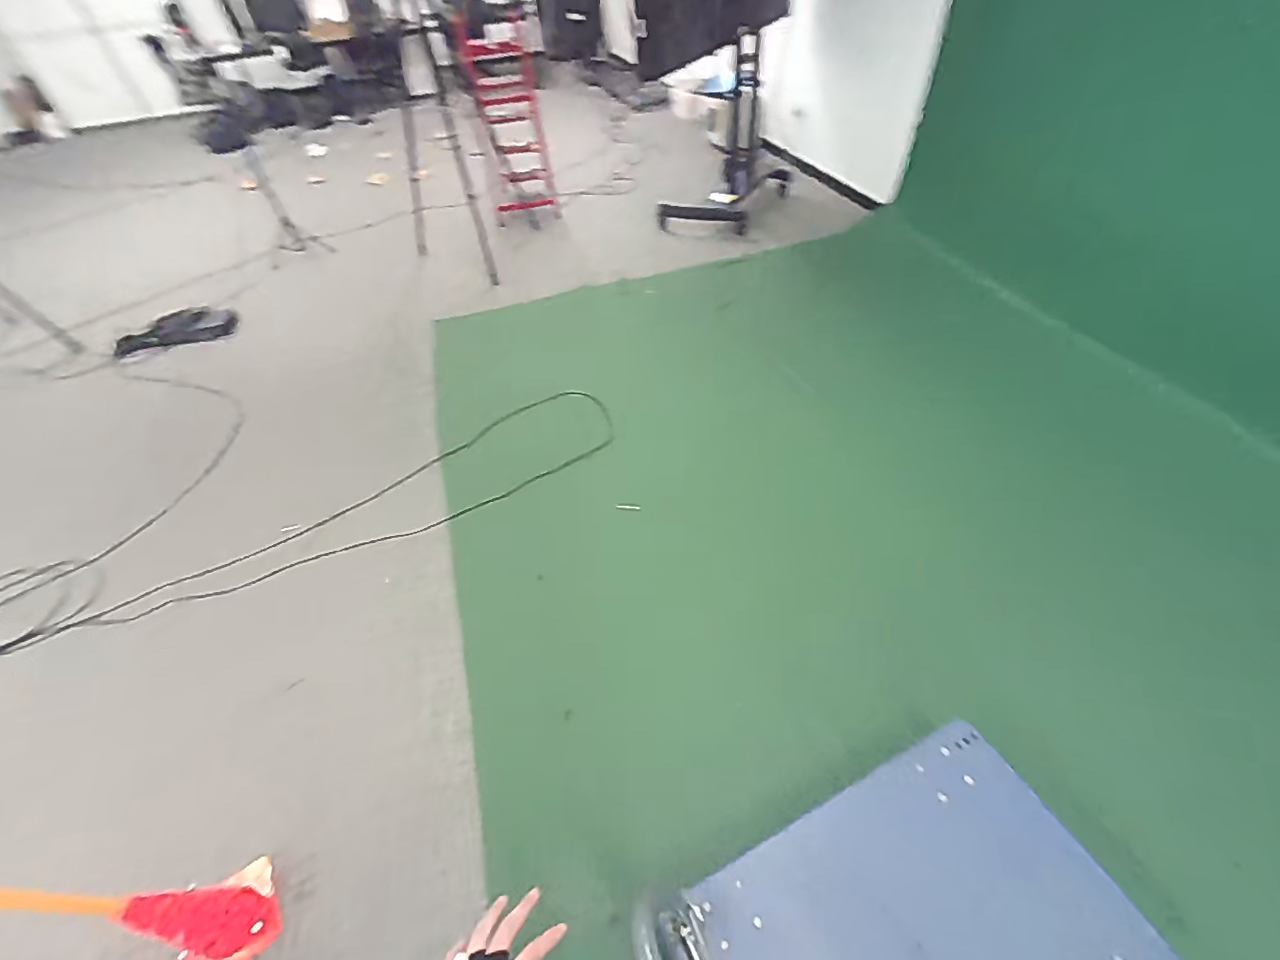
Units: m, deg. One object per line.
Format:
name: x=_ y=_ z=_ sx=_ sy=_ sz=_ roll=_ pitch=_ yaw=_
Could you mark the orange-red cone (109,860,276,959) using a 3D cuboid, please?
orange-red cone: x=-0.995 y=0.941 z=1.170 sx=0.198 sy=0.360 sz=0.199 roll=-27 pitch=49 yaw=-19
